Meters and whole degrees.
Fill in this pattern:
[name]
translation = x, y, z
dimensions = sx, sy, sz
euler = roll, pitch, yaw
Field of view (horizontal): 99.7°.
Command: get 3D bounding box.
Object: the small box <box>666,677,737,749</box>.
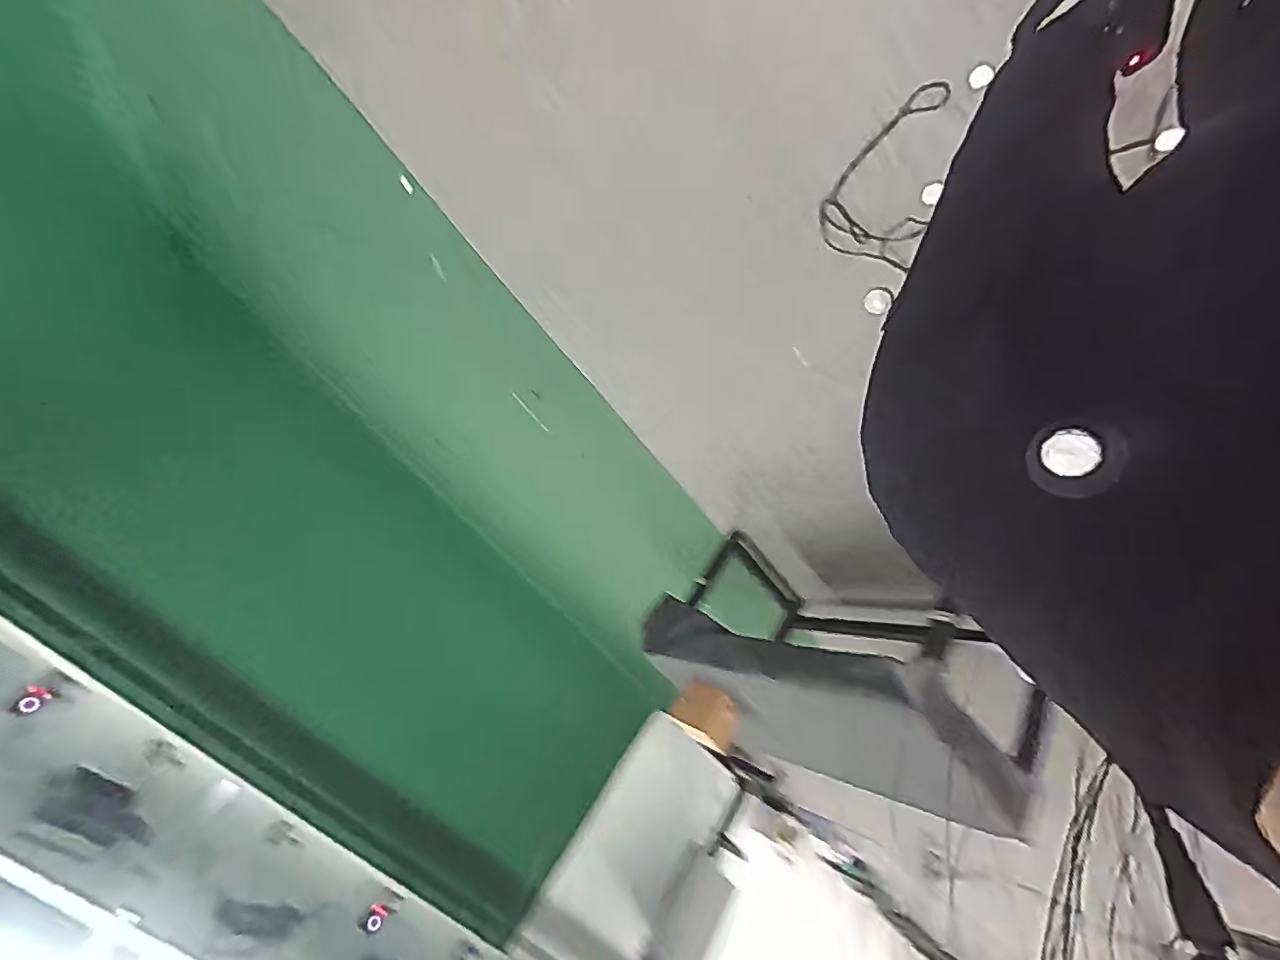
[small box]
translation = 0.238, 0.881, 2.060
dimensions = 0.179, 0.176, 0.168
euler = 2, 135, 46
